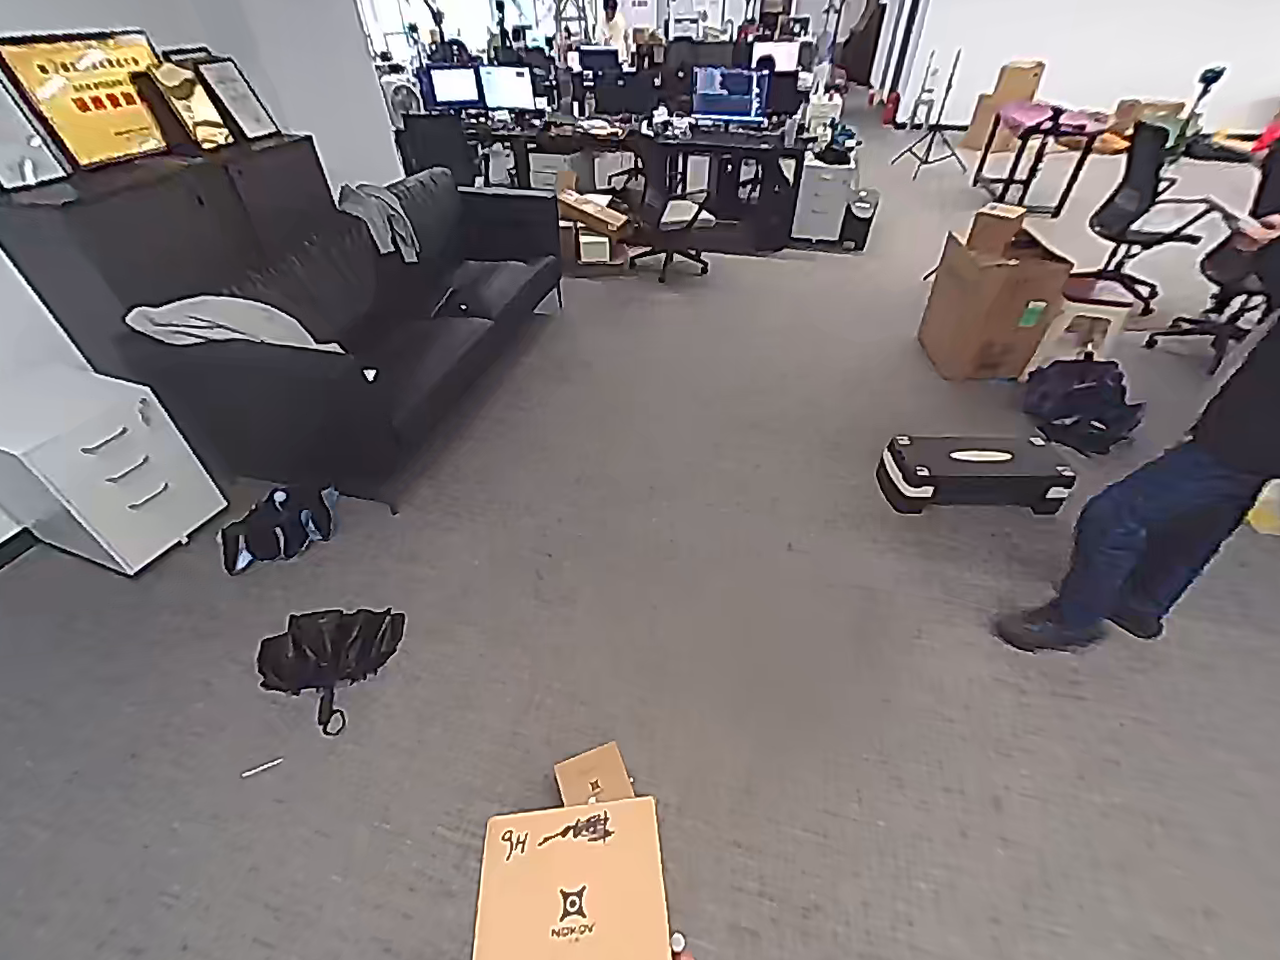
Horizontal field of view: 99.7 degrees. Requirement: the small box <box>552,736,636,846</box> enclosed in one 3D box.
[{"bbox_3d":[-0.114,0.795,1.371,0.168,0.176,0.179,-15,42,-18],"label":"small box"}]
